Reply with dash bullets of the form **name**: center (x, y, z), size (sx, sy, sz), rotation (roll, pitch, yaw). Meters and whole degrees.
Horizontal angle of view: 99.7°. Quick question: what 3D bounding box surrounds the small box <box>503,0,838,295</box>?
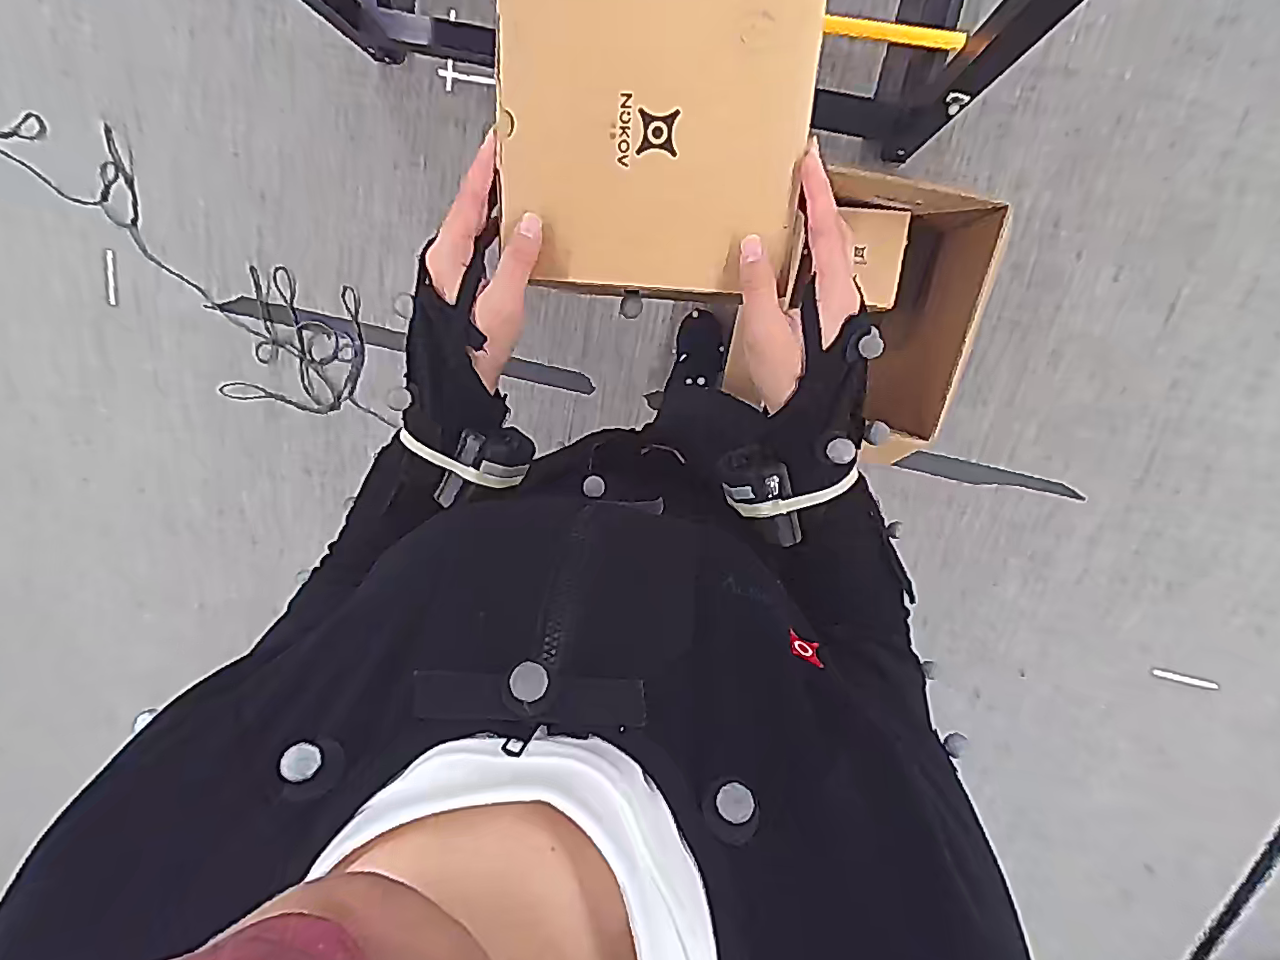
- **small box**: center (0.017, -0.220, 0.374), size (0.179, 0.176, 0.168), rotation (5, 108, 4)
